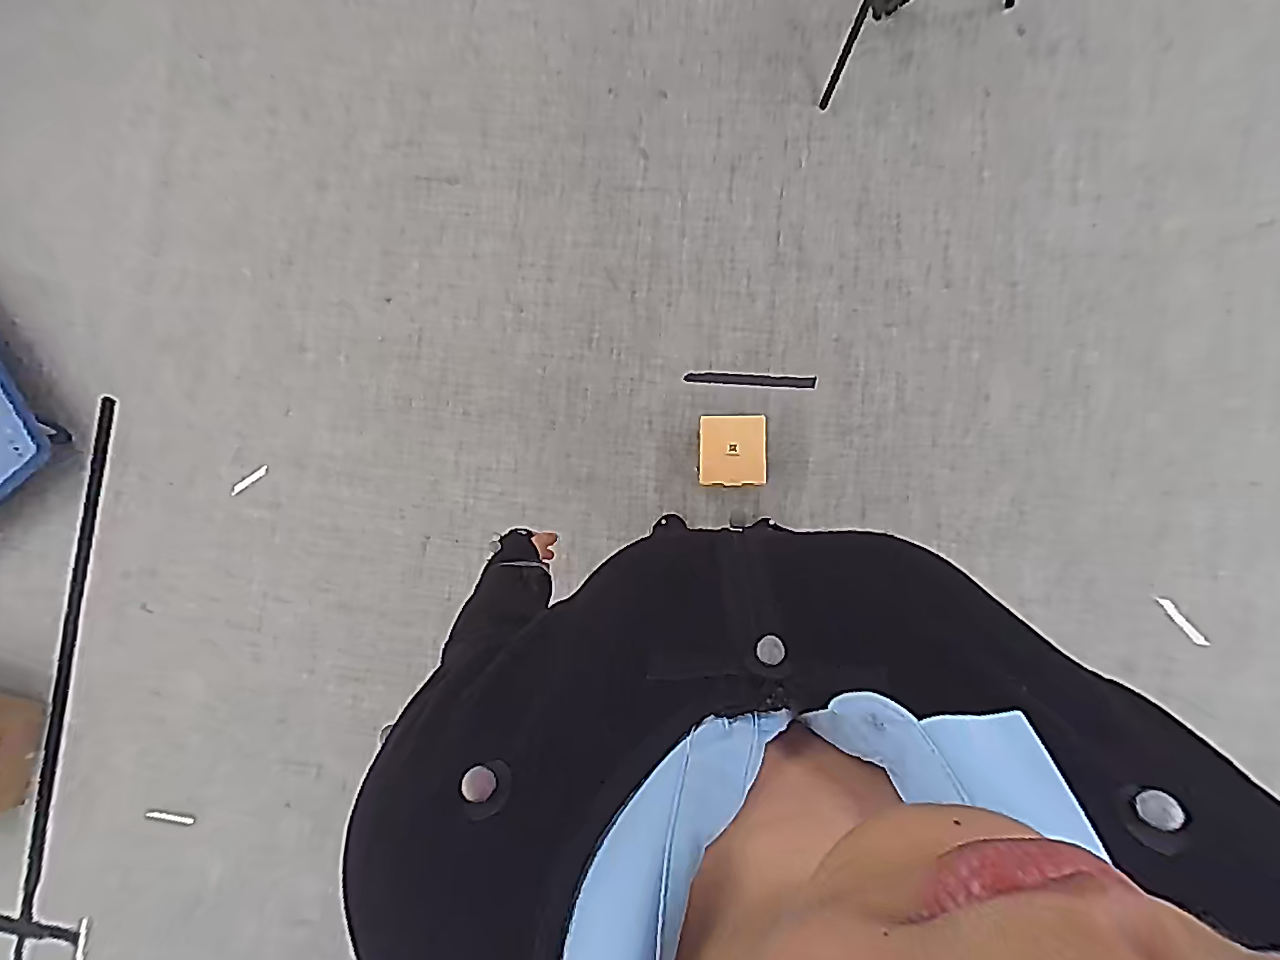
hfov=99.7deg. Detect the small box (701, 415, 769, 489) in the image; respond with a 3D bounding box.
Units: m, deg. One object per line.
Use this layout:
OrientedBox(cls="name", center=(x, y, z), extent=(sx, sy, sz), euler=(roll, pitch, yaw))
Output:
OrientedBox(cls="small box", center=(0.247, -0.070, 1.428), extent=(0.168, 0.176, 0.179), euler=(0, 86, 6))
